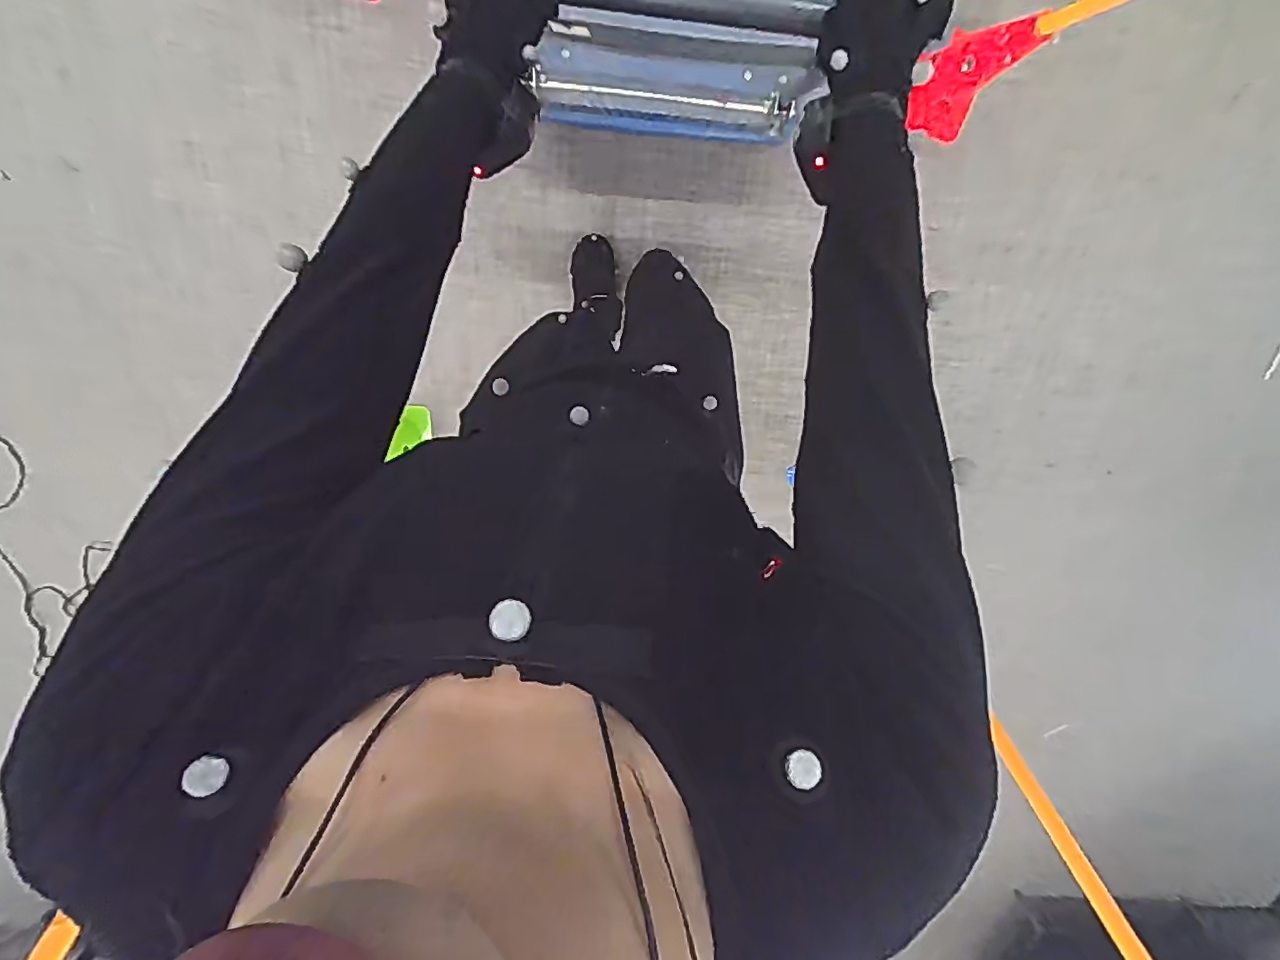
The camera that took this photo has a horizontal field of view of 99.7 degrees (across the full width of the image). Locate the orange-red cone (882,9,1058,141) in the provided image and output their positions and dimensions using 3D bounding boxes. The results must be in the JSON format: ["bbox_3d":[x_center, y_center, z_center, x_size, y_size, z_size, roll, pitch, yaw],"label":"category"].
[{"bbox_3d":[0.661,-0.813,1.037,0.198,0.360,0.199,15,114,-7],"label":"orange-red cone"}]
